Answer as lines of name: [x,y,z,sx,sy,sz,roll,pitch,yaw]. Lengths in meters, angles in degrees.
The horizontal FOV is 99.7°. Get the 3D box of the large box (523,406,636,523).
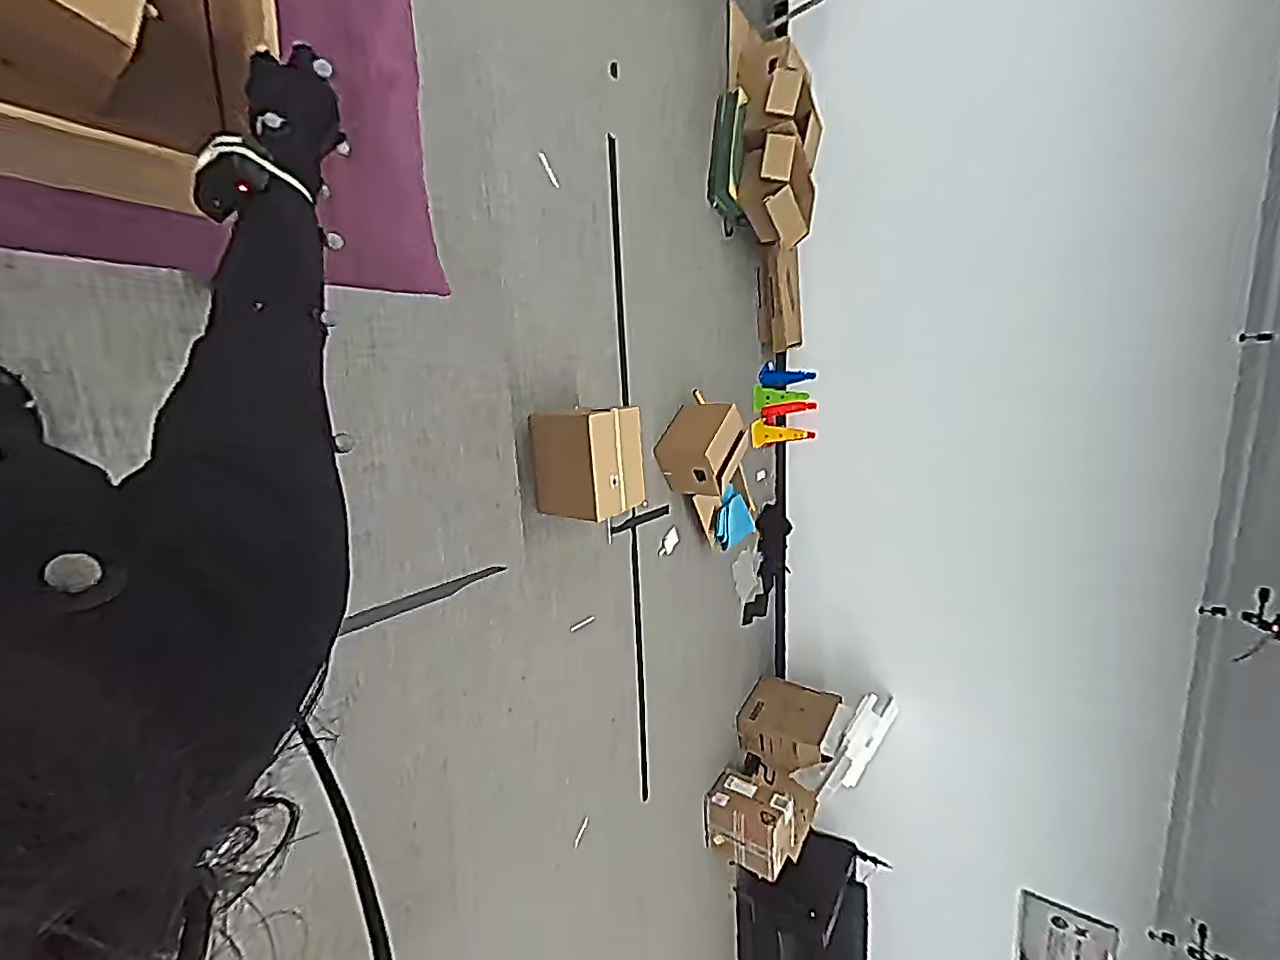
large box: [-0.235,-0.076,2.153,0.320,0.320,0.408,-20,111,-52]
